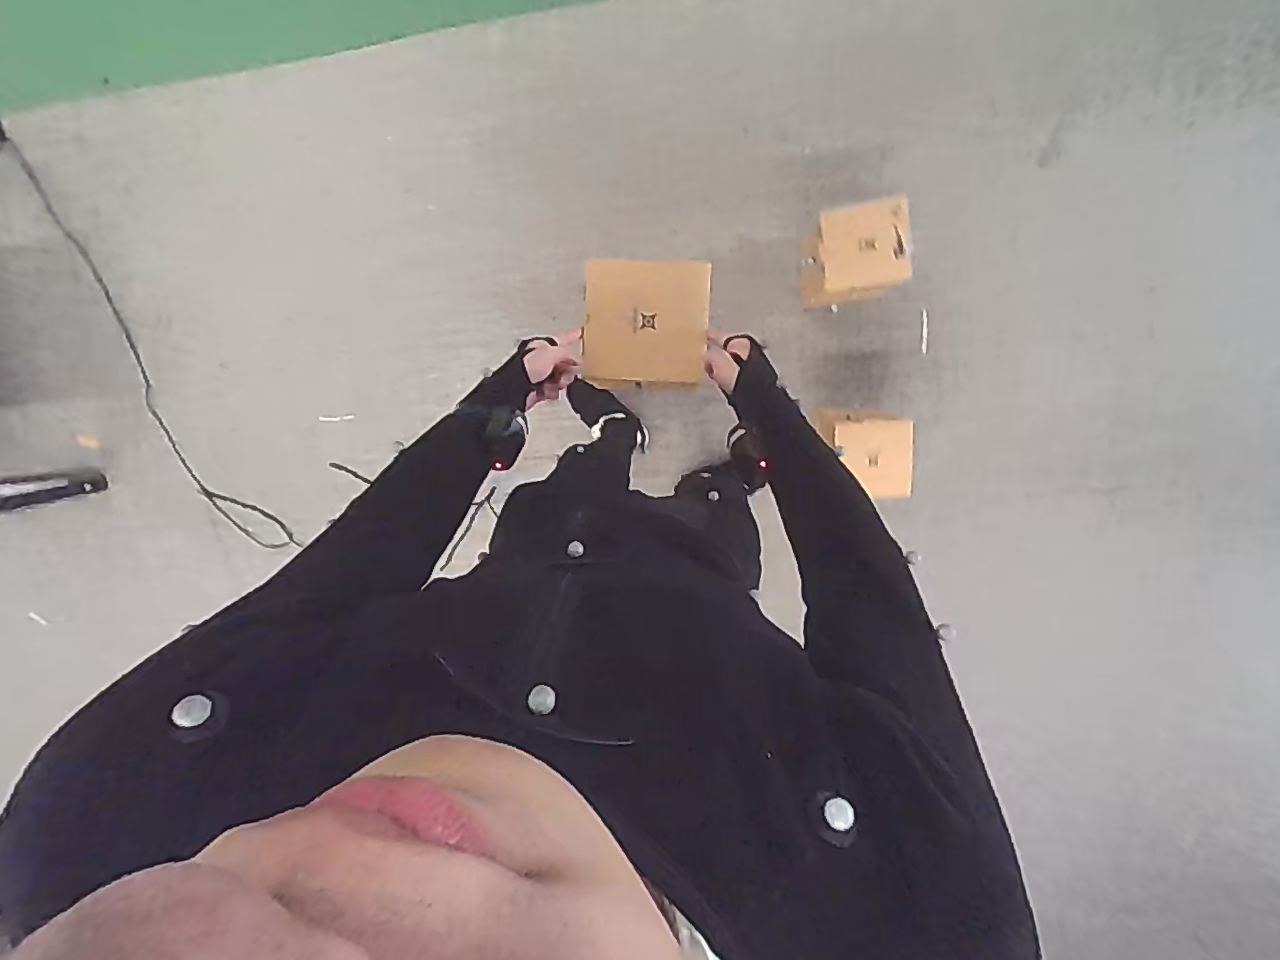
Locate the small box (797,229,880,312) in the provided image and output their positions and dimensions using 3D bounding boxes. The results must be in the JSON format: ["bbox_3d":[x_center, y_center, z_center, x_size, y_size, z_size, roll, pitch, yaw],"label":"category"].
[{"bbox_3d":[0.493,-0.527,1.357,0.168,0.176,0.179,-4,102,8],"label":"small box"}]

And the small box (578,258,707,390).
[{"bbox_3d":[0.007,-0.228,0.823,0.179,0.176,0.168,2,95,4],"label":"small box"}]

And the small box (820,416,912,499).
[{"bbox_3d":[0.527,-0.059,1.279,0.168,0.176,0.179,-2,102,8],"label":"small box"}]

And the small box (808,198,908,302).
[{"bbox_3d":[0.473,-0.498,1.197,0.179,0.176,0.168,-7,101,10],"label":"small box"}]
